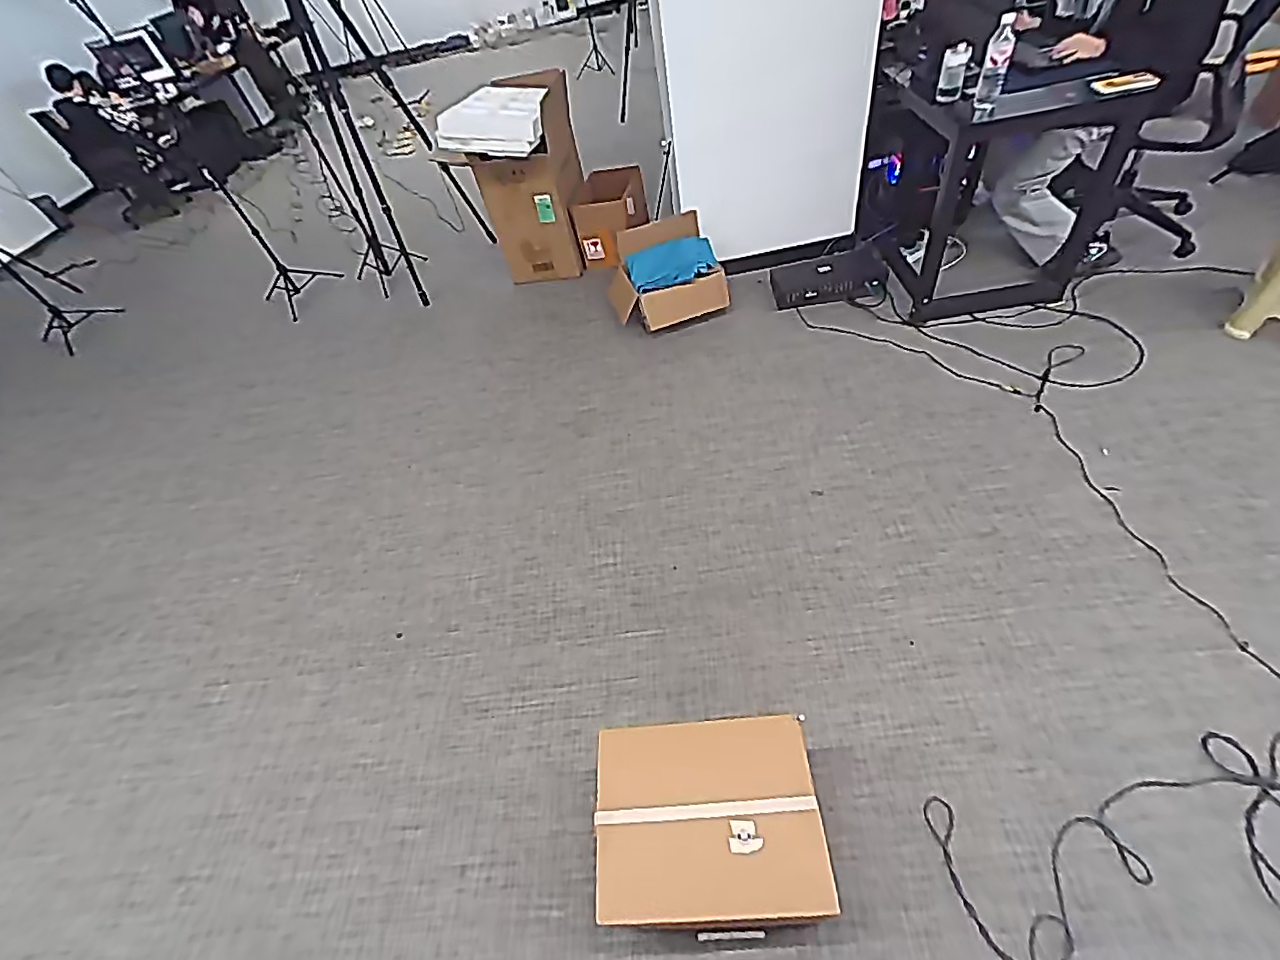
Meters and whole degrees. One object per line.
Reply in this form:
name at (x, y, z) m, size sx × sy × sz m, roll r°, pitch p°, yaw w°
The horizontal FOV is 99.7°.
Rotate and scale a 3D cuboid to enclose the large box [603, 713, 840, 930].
large box at (0.148, 0.700, 1.101) m, size 0.408 × 0.320 × 0.320 m, roll -7°, pitch 49°, yaw 6°
